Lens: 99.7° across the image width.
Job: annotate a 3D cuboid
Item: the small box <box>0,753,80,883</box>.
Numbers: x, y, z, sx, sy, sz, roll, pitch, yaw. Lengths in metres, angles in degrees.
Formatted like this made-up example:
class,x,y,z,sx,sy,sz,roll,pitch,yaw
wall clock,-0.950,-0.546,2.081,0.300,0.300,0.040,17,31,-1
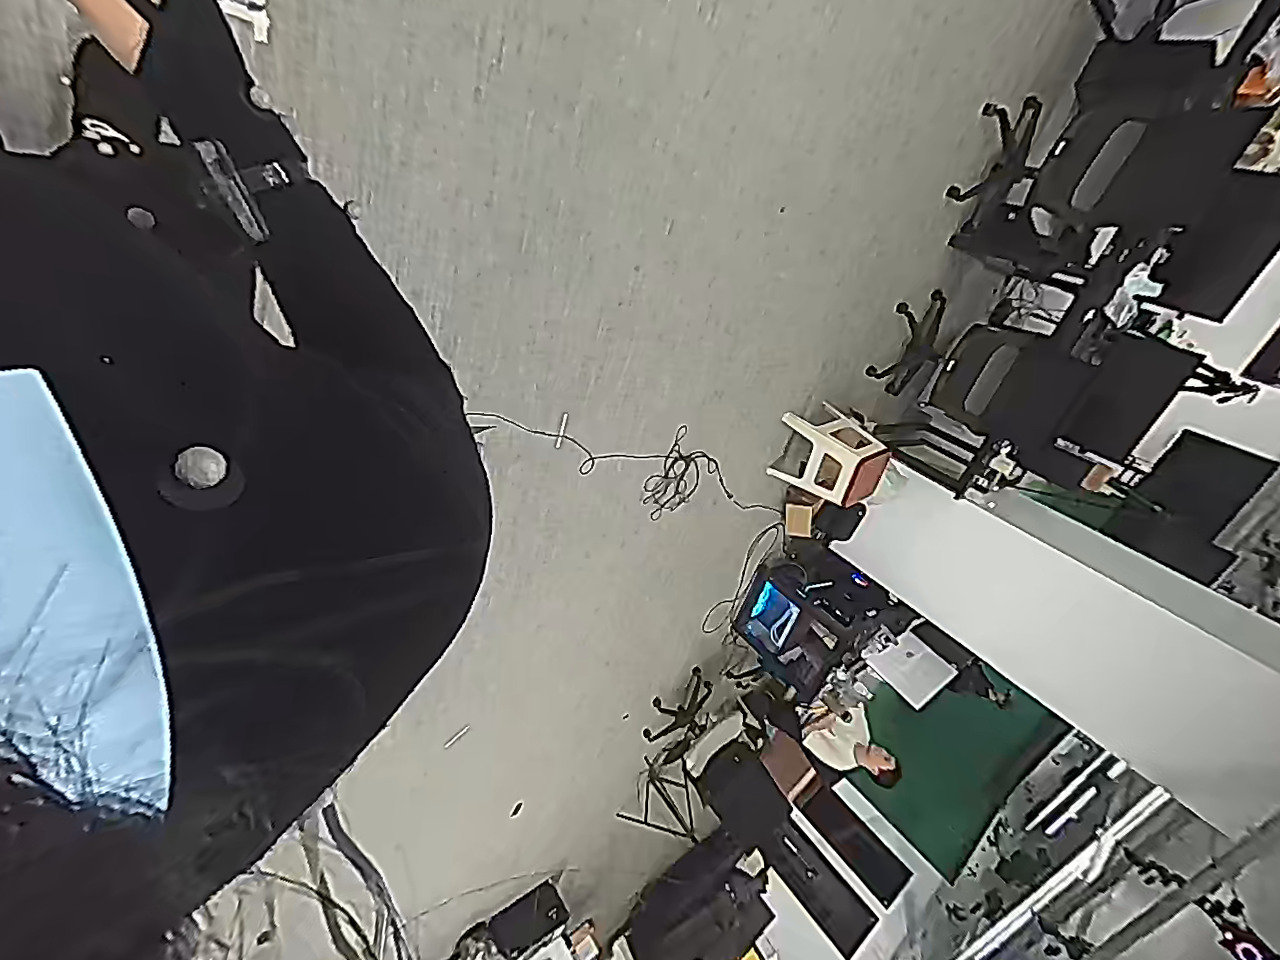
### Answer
class,x,y,z,sx,sy,sz,roll,pitch,yaw
small box,-1.389,0.759,1.212,0.168,0.176,0.179,-8,126,-41

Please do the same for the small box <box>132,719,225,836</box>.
class,x,y,z,sx,sy,sz,roll,pitch,yaw
small box,-1.197,0.764,1.406,0.168,0.176,0.179,-9,127,-41
